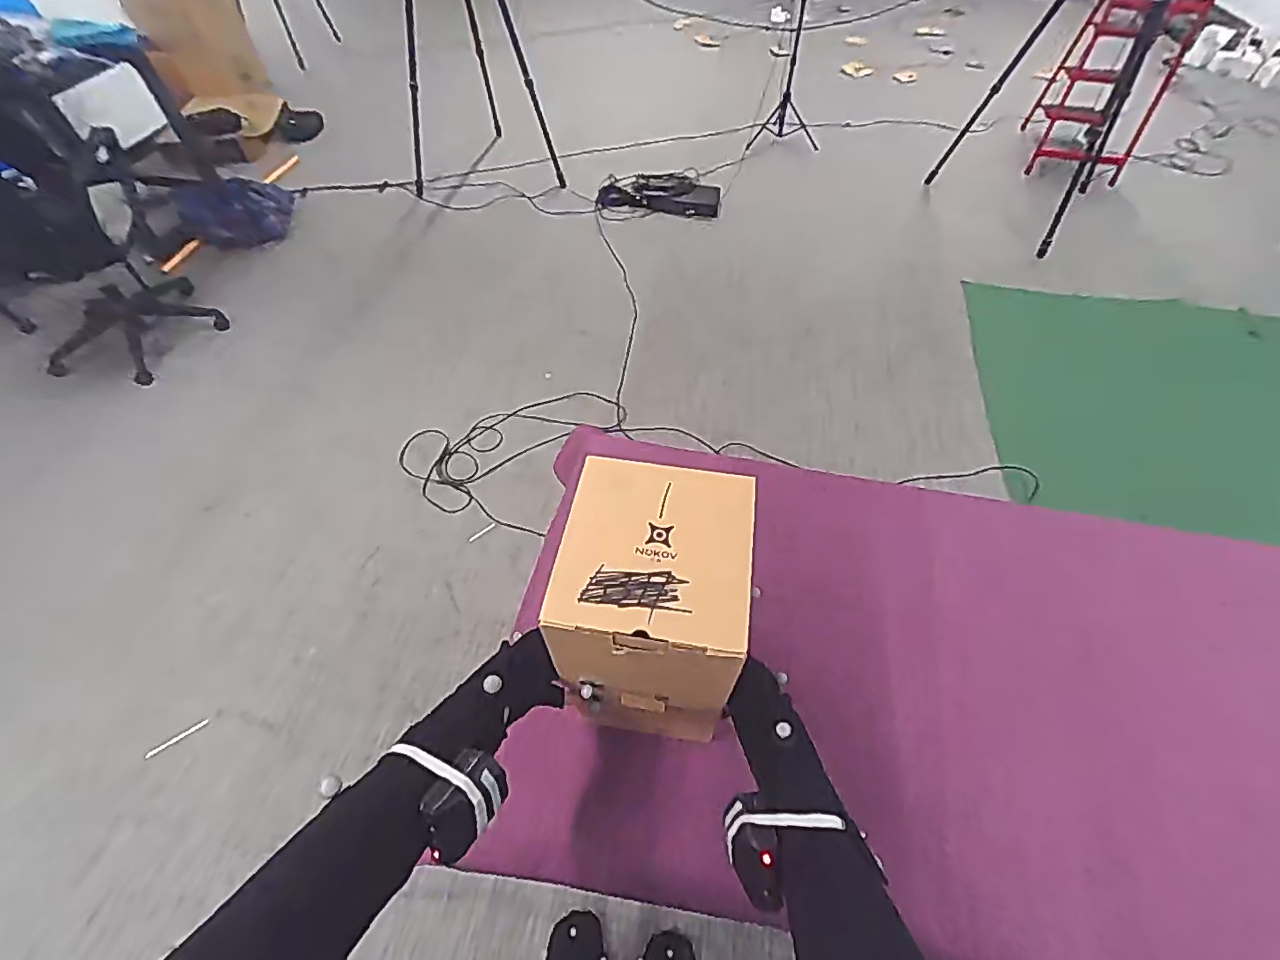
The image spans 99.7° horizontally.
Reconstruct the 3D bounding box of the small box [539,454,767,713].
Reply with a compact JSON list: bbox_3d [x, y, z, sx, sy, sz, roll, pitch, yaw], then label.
[{"bbox_3d":[0.017,0.105,0.522,0.168,0.176,0.179,12,54,6],"label":"small box"}]
